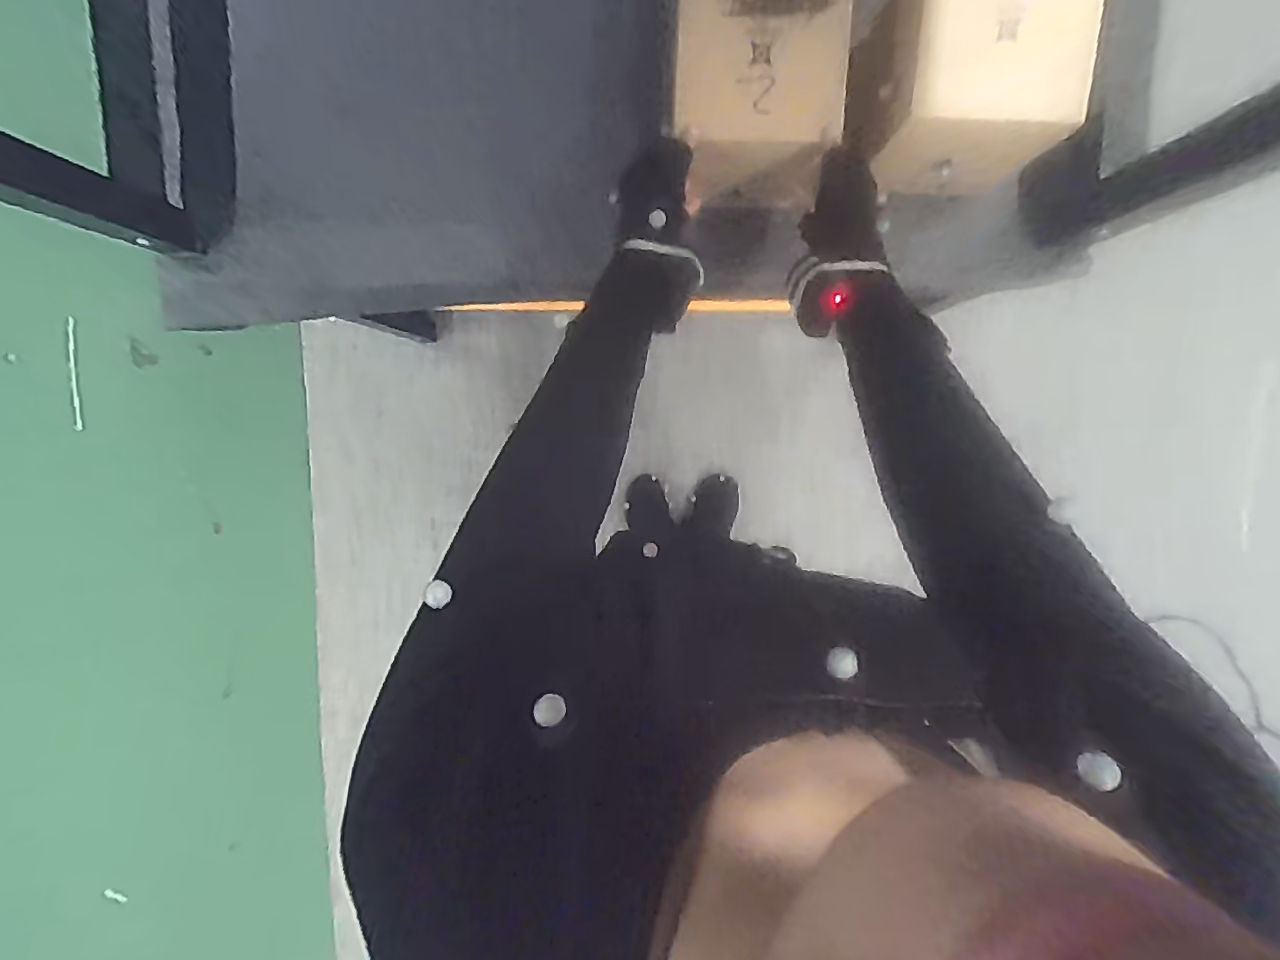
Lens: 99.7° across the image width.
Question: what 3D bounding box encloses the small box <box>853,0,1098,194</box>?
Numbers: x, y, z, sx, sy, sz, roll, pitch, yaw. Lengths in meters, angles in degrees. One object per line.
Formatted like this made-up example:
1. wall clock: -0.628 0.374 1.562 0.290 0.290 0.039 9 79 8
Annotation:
1. small box: 0.346 -0.436 0.589 0.168 0.176 0.179 5 96 2
